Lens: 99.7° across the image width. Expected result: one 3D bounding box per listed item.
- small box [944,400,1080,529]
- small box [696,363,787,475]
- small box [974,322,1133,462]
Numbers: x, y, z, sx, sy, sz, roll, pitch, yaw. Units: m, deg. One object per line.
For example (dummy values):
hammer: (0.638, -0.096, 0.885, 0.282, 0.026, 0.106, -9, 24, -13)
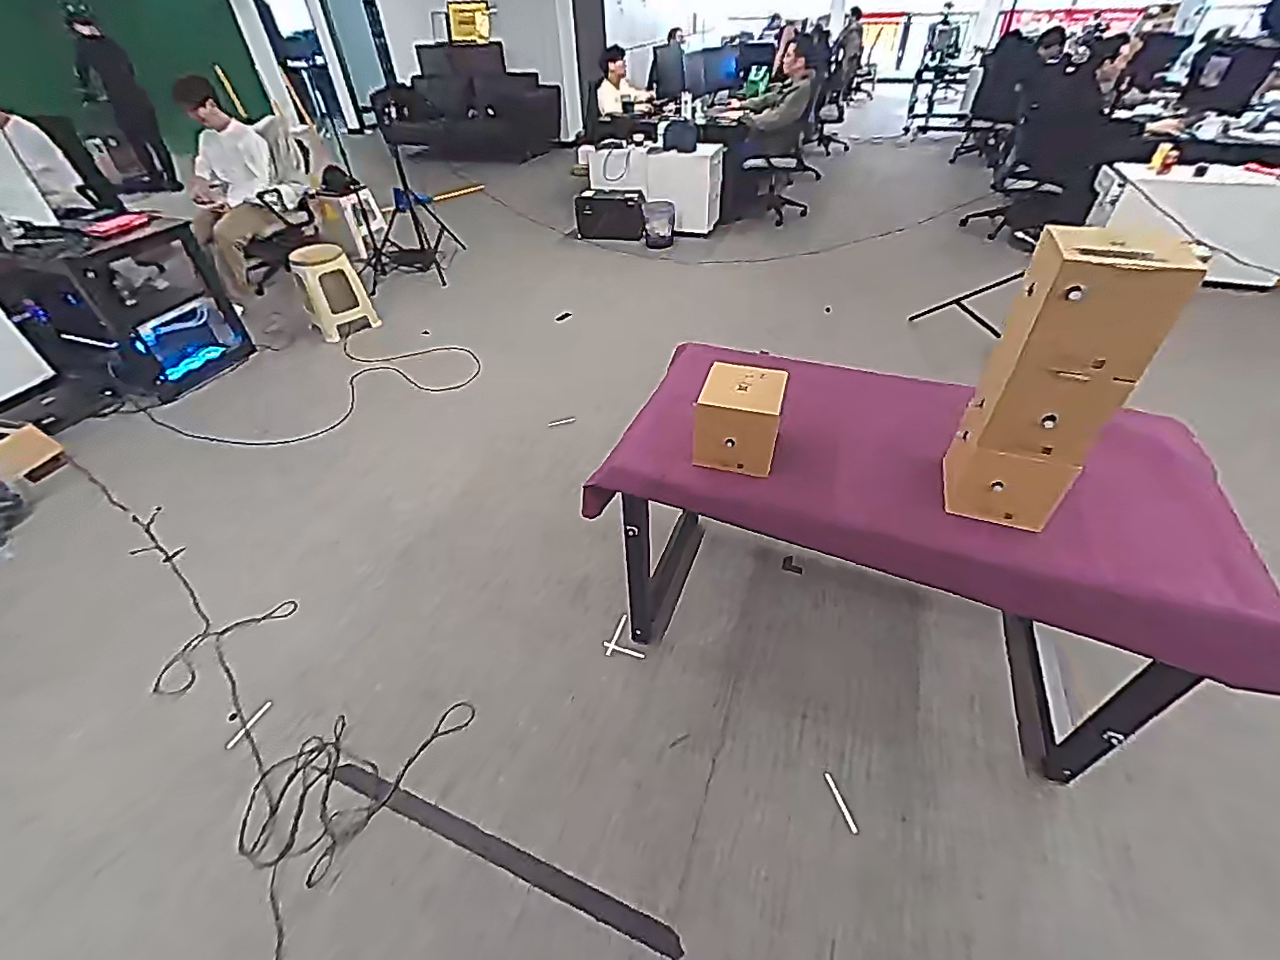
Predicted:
small box: (0.712, -0.030, 1.057, 0.168, 0.176, 0.179, 13, 43, 17)
small box: (0.221, -0.133, 1.189, 0.168, 0.176, 0.179, 11, 43, 14)
small box: (0.709, -0.155, 0.952, 0.168, 0.176, 0.179, 14, 44, 18)
